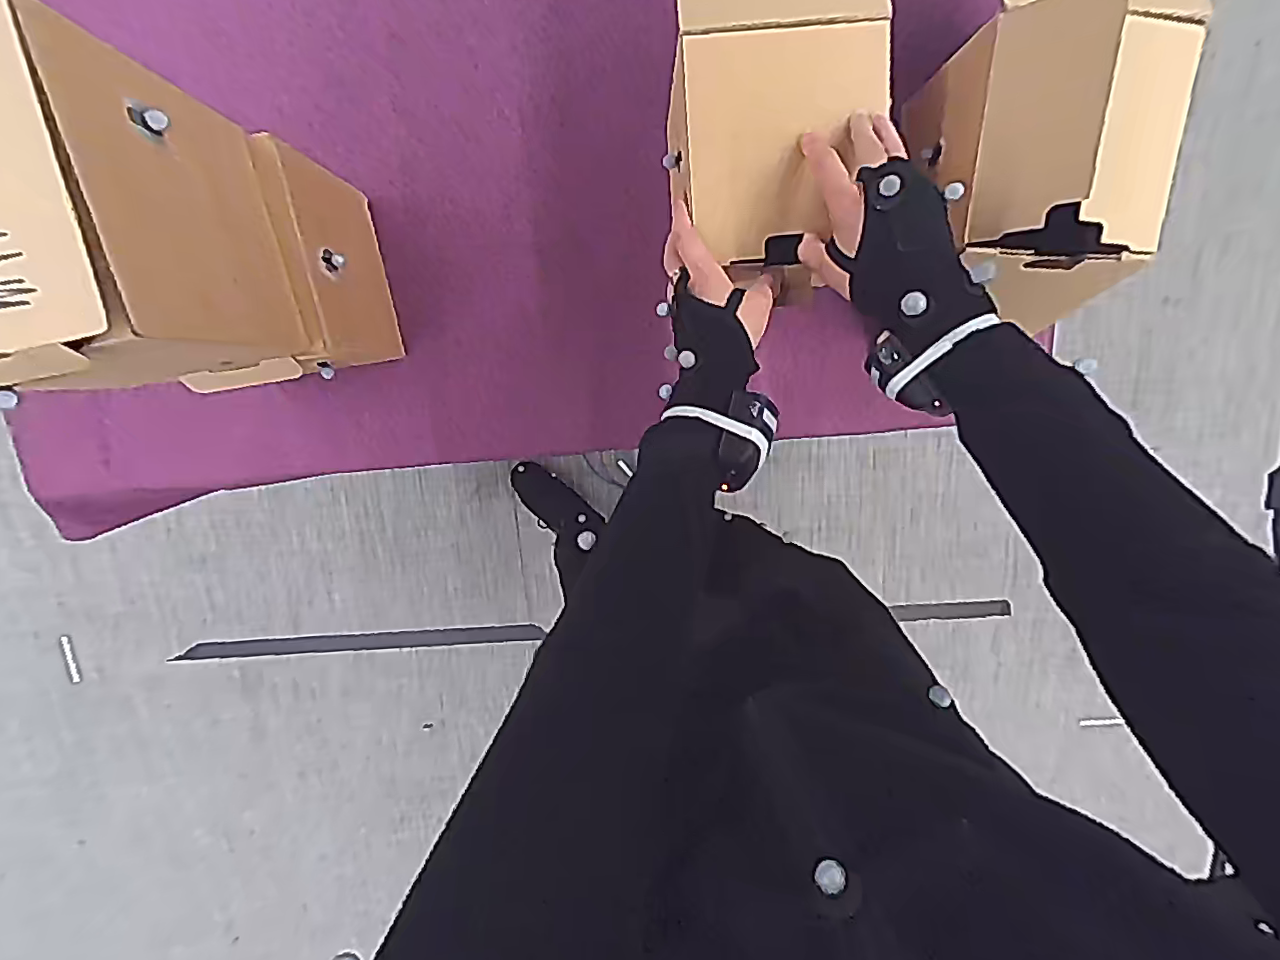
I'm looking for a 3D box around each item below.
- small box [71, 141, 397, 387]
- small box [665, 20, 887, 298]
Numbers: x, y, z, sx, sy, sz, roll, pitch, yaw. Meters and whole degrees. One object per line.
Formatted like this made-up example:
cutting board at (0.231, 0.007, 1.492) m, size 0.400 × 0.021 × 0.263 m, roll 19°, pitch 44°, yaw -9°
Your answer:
small box at (-0.362, -0.193, 0.525) m, size 0.168 × 0.176 × 0.179 m, roll -9°, pitch 102°, yaw 0°
small box at (0.113, -0.279, 0.509) m, size 0.168 × 0.176 × 0.179 m, roll -4°, pitch 101°, yaw 1°
